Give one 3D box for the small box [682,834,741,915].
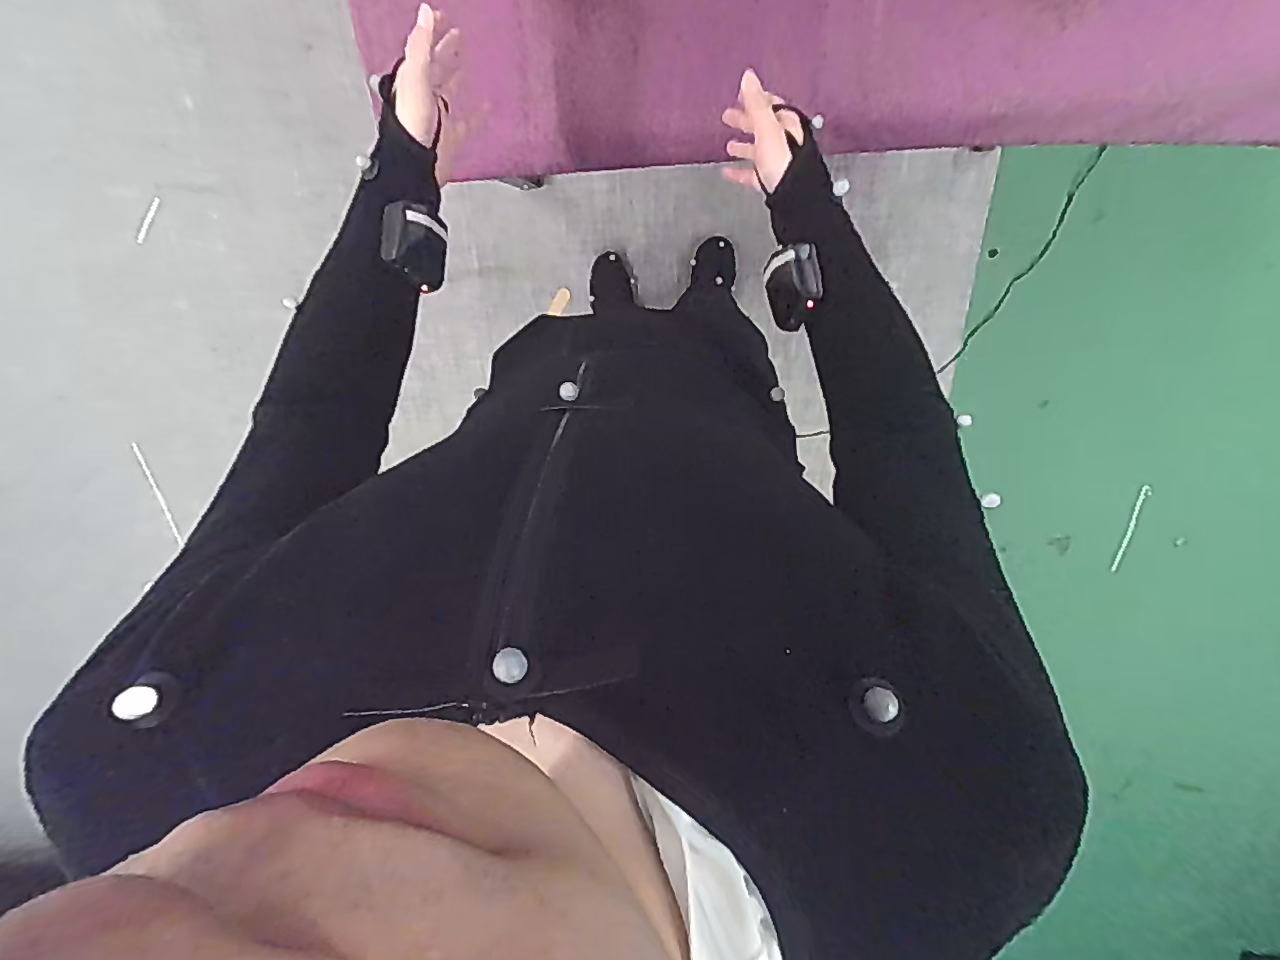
[{"bbox_3d":[0.244,1.371,1.885,0.179,0.176,0.168,6,114,0],"label":"small box"}]
